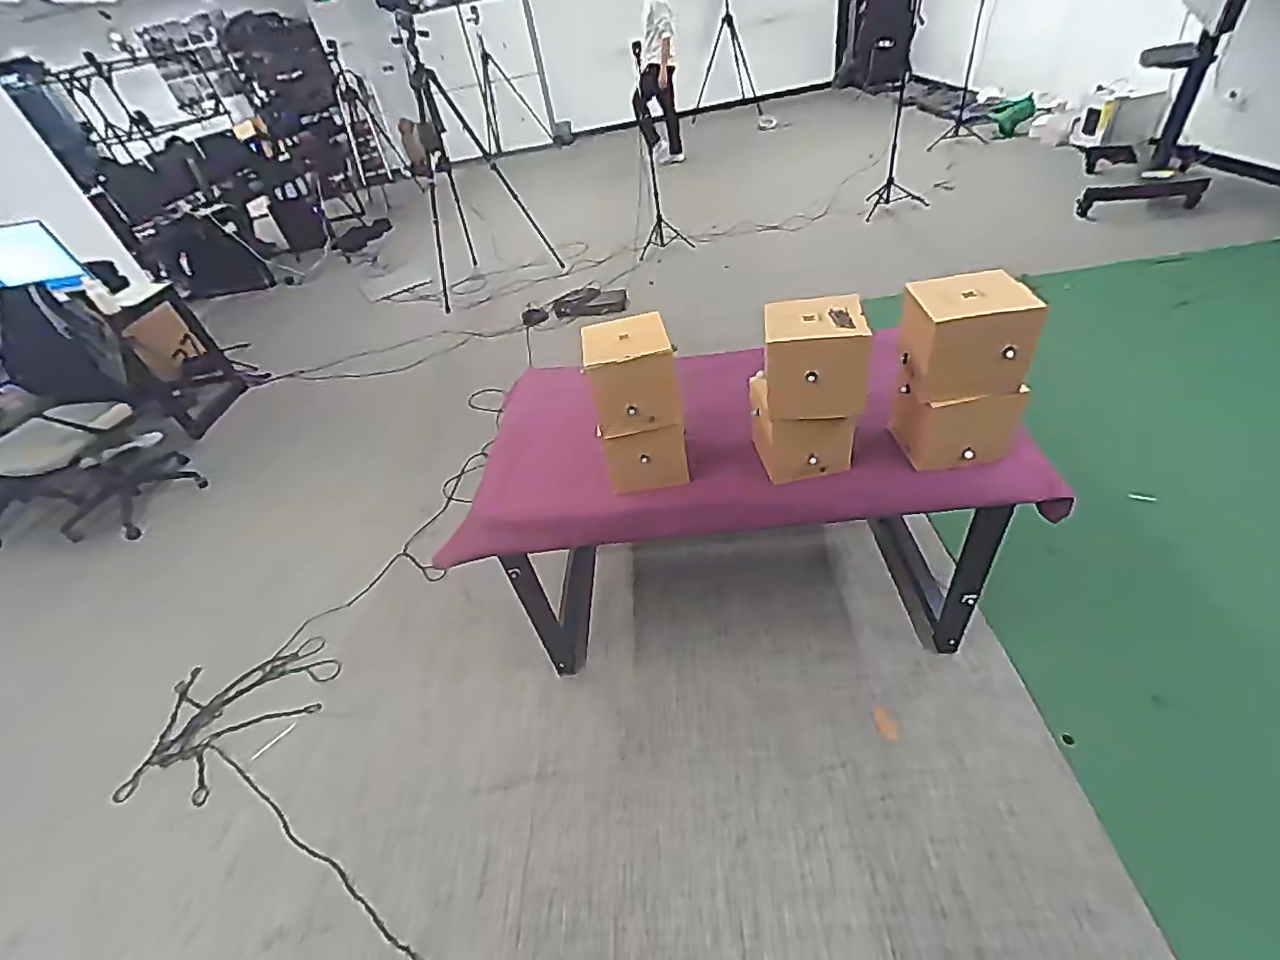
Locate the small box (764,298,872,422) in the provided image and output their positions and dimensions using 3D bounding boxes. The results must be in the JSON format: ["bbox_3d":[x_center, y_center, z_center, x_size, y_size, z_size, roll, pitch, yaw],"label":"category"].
[{"bbox_3d":[0.327,-0.224,1.025,0.179,0.176,0.168,-2,41,14],"label":"small box"}]

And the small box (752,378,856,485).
[{"bbox_3d":[0.340,-0.114,1.150,0.168,0.176,0.179,-11,40,3],"label":"small box"}]

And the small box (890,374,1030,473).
[{"bbox_3d":[0.632,-0.135,1.095,0.179,0.176,0.168,-9,40,4],"label":"small box"}]

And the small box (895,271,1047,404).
[{"bbox_3d":[0.592,-0.259,0.996,0.179,0.176,0.168,-6,41,9],"label":"small box"}]
